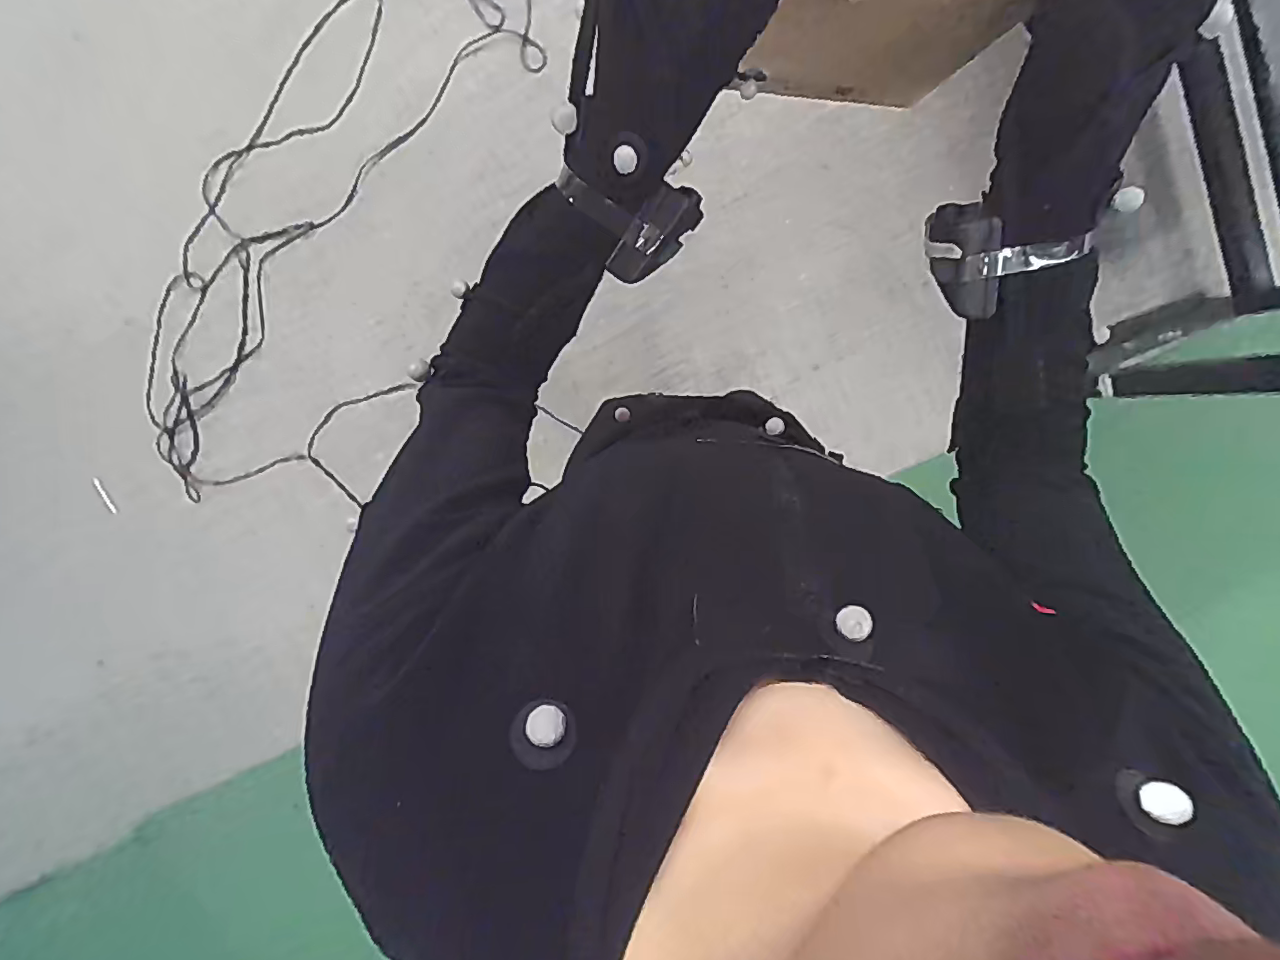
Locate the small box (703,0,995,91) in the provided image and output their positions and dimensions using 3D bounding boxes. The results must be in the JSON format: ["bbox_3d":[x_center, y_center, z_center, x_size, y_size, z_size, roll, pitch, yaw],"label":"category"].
[{"bbox_3d":[0.132,-0.359,0.312,0.168,0.176,0.179,4,105,-2],"label":"small box"}]
